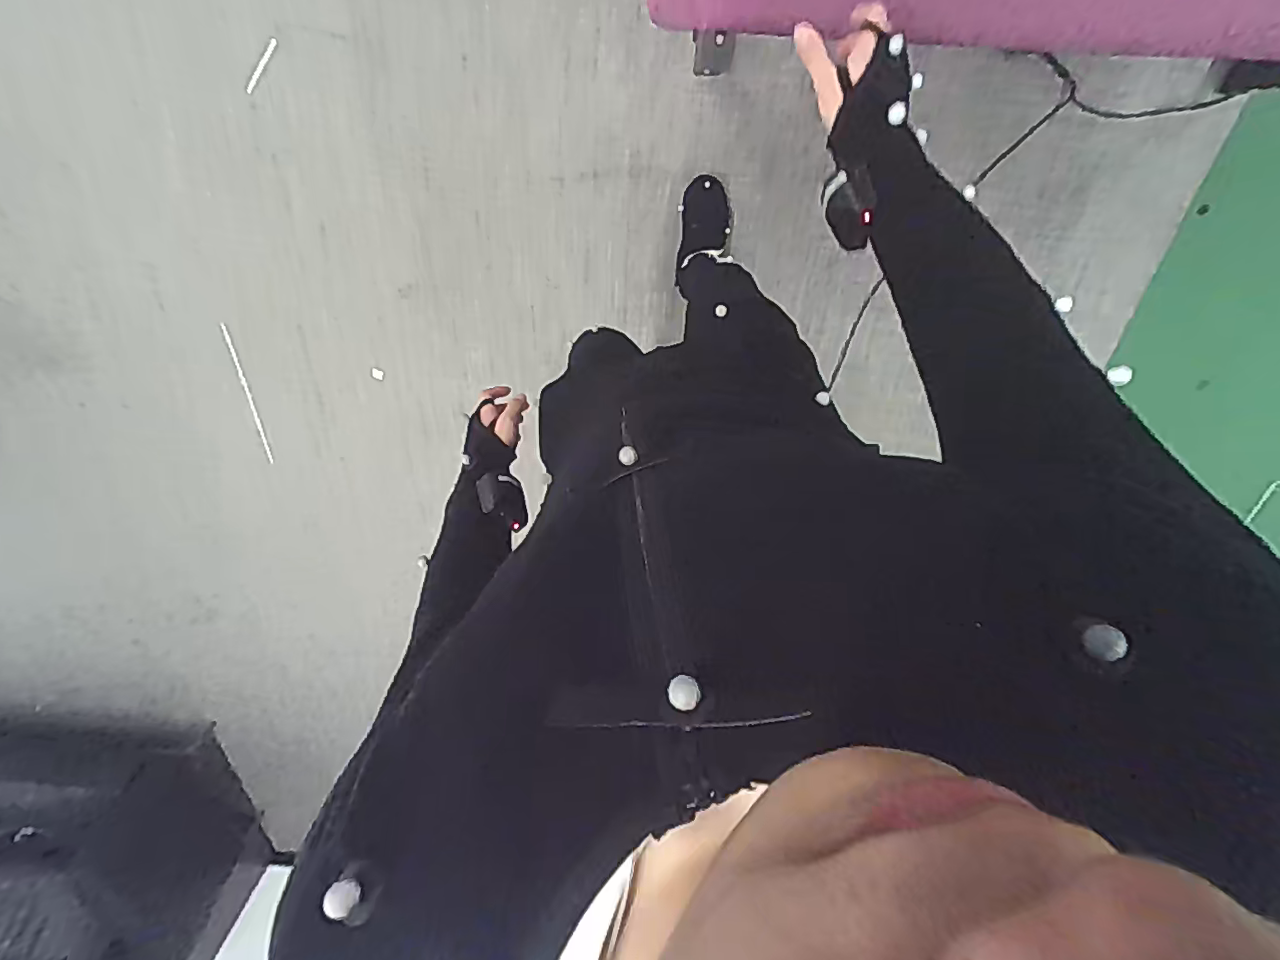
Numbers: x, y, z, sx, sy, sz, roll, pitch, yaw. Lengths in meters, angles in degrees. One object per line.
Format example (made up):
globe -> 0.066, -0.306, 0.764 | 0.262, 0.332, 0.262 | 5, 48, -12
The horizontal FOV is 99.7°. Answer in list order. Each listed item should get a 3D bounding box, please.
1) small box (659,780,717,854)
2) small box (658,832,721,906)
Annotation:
small box -> 0.165, 1.170, 1.854 | 0.168, 0.176, 0.179 | 10, 120, -1
small box -> 0.152, 1.253, 1.713 | 0.168, 0.176, 0.179 | 11, 121, -1
